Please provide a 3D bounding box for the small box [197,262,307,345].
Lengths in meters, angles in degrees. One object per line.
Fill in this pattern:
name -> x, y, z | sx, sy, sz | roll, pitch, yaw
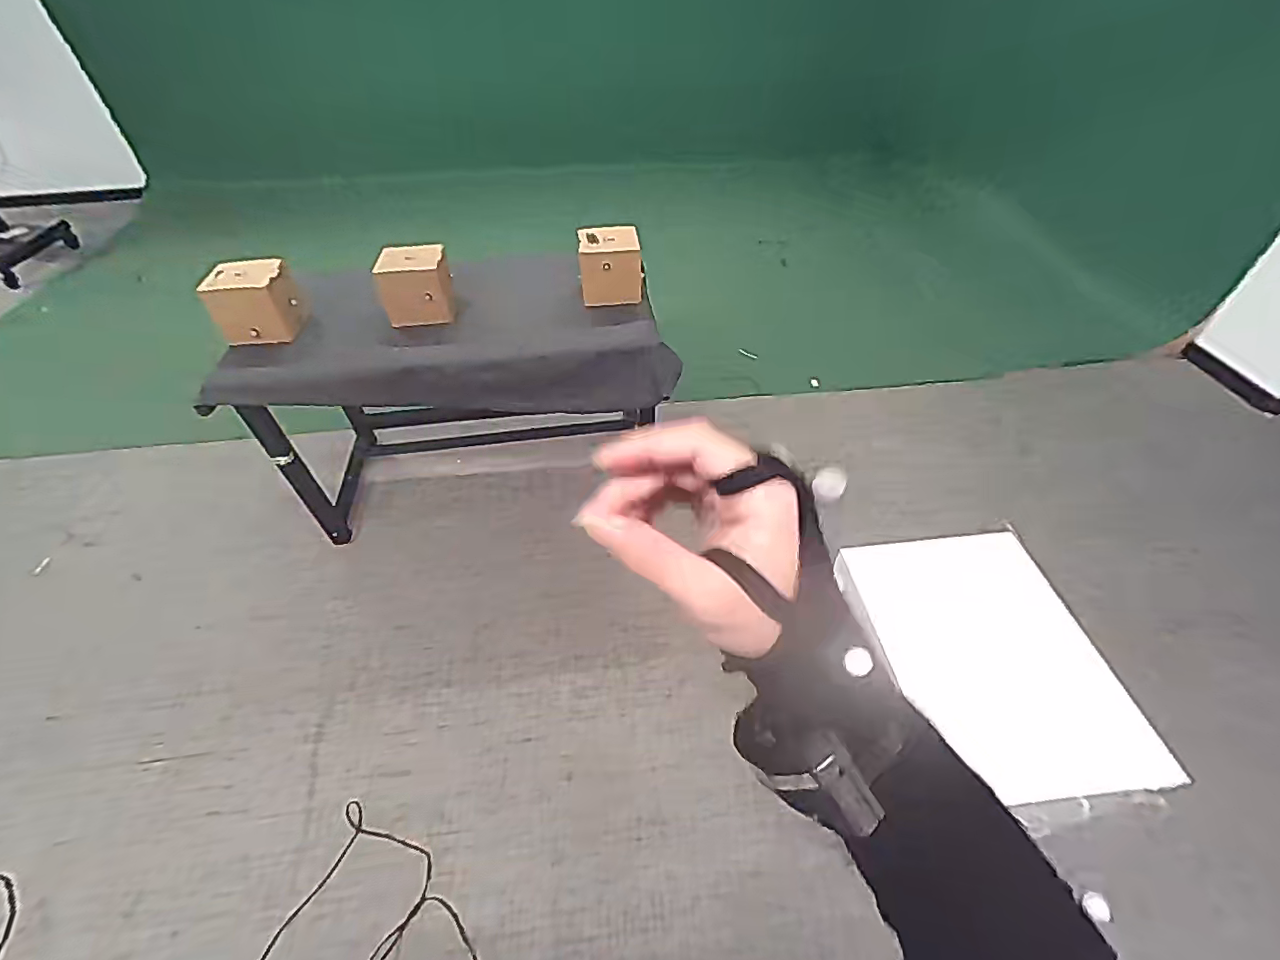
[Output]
small box -> -1.076, -0.495, 1.519 | 0.179, 0.176, 0.168 | -4, 45, -6

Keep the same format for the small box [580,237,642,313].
small box -> -0.087, -0.623, 1.649 | 0.179, 0.176, 0.168 | -3, 46, -4

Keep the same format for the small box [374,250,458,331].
small box -> -0.645, -0.554, 1.585 | 0.179, 0.176, 0.168 | -6, 45, -4
